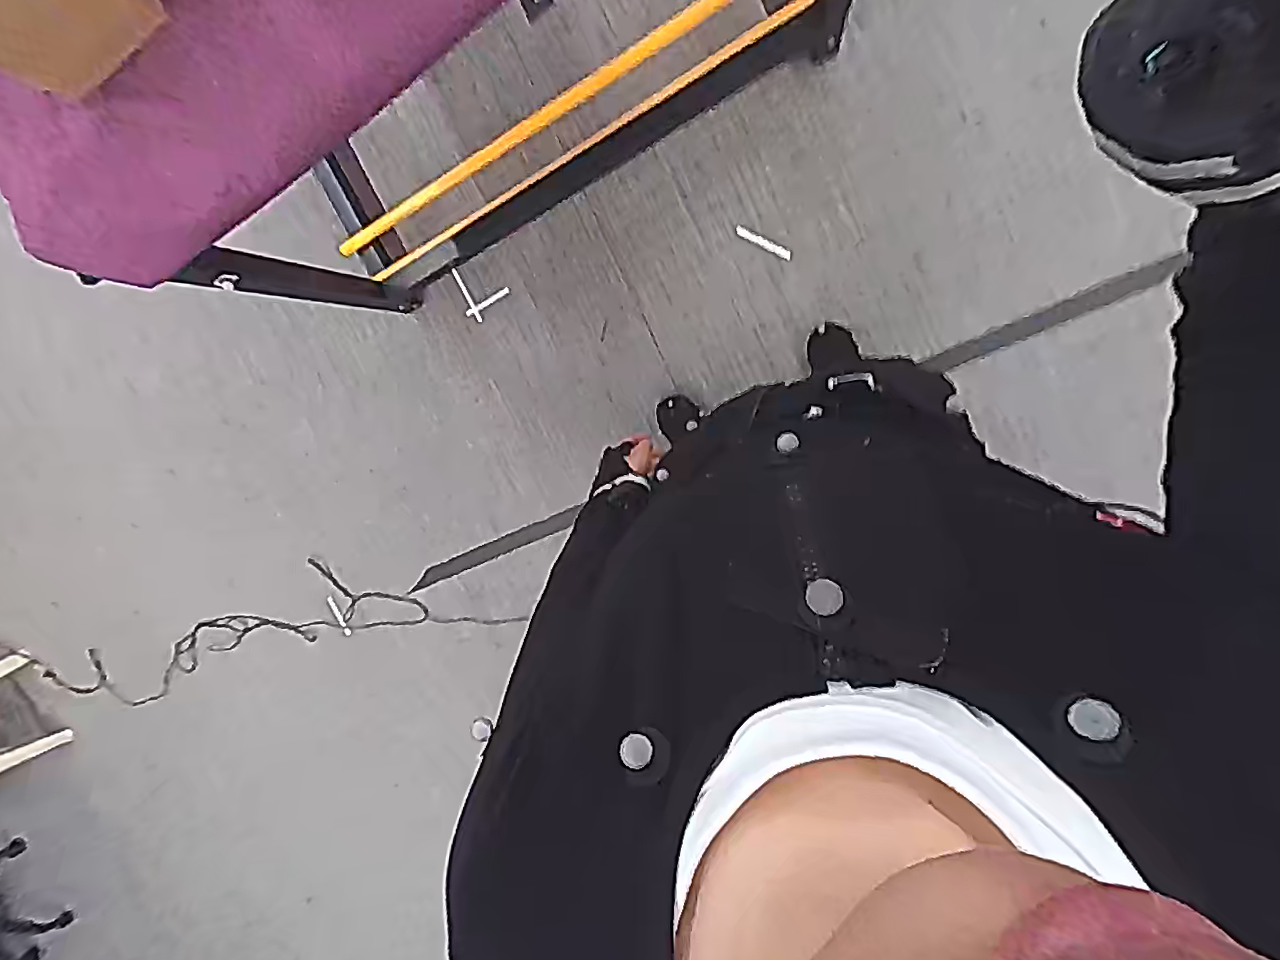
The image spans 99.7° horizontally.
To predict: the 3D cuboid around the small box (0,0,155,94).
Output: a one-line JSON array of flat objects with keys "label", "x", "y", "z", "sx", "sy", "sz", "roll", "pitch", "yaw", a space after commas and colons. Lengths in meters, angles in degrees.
[{"label": "small box", "x": -0.686, "y": -0.576, "z": 0.582, "sx": 0.179, "sy": 0.176, "sz": 0.168, "roll": -27, "pitch": 95, "yaw": 13}]
